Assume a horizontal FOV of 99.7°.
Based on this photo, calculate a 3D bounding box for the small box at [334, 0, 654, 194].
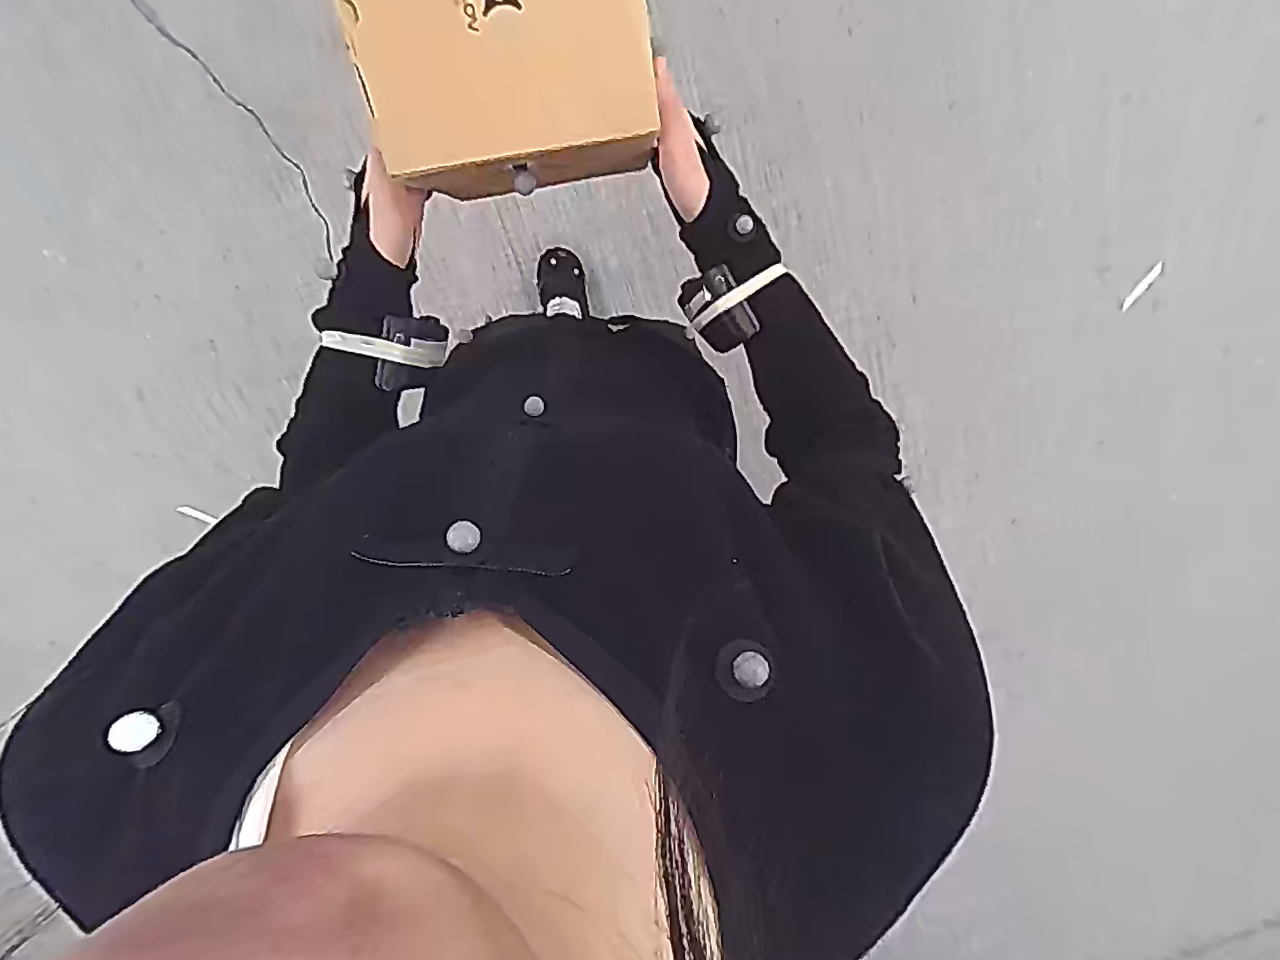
[{"bbox_3d":[-0.089,-0.311,0.382,0.179,0.176,0.168,-8,113,3],"label":"small box"}]
